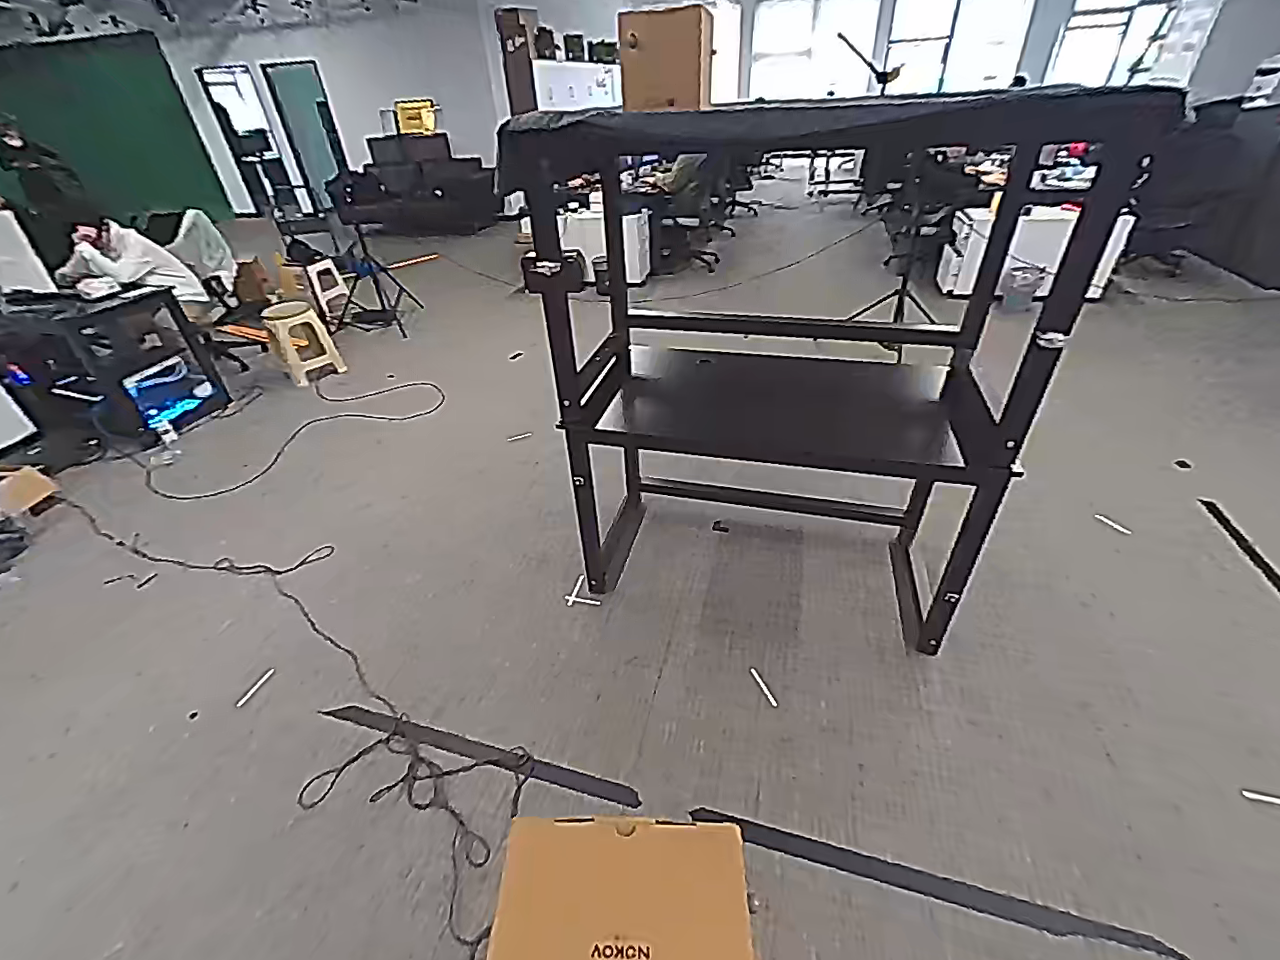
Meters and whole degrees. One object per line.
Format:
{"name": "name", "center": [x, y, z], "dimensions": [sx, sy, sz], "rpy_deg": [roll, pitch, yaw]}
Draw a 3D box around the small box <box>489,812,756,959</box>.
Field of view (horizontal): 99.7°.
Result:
{"name": "small box", "center": [-0.010, 0.358, 0.370], "dimensions": [0.168, 0.176, 0.179], "rpy_deg": [1, 37, 0]}
